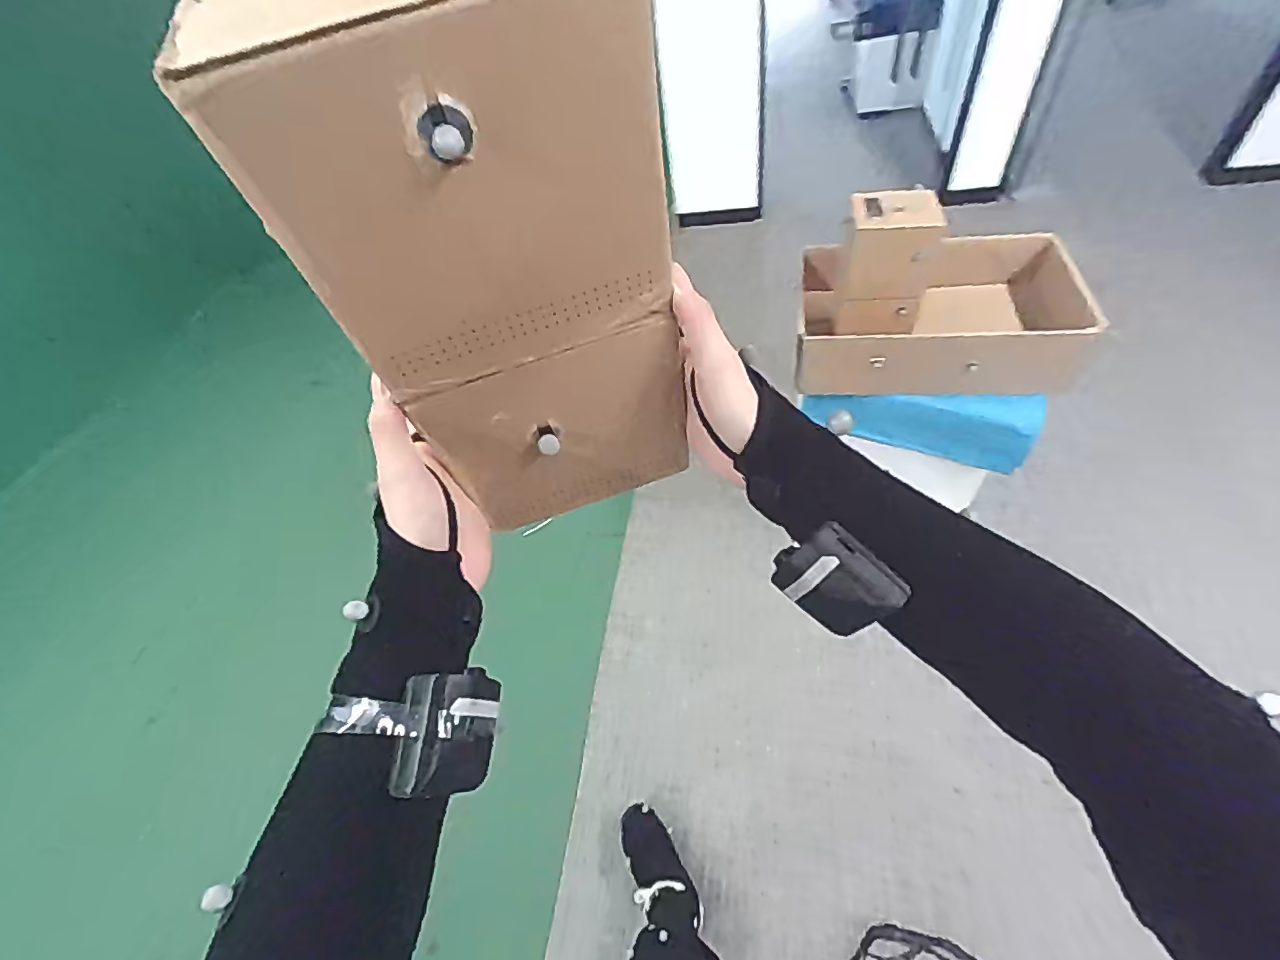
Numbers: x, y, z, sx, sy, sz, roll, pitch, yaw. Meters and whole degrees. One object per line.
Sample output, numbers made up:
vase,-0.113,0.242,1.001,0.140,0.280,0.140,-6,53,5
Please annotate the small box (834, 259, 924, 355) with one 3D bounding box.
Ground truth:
small box,0.583,-0.427,1.347,0.179,0.176,0.168,2,52,12

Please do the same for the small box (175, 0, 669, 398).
small box,-0.095,-0.173,0.306,0.179,0.176,0.168,-20,56,-4
